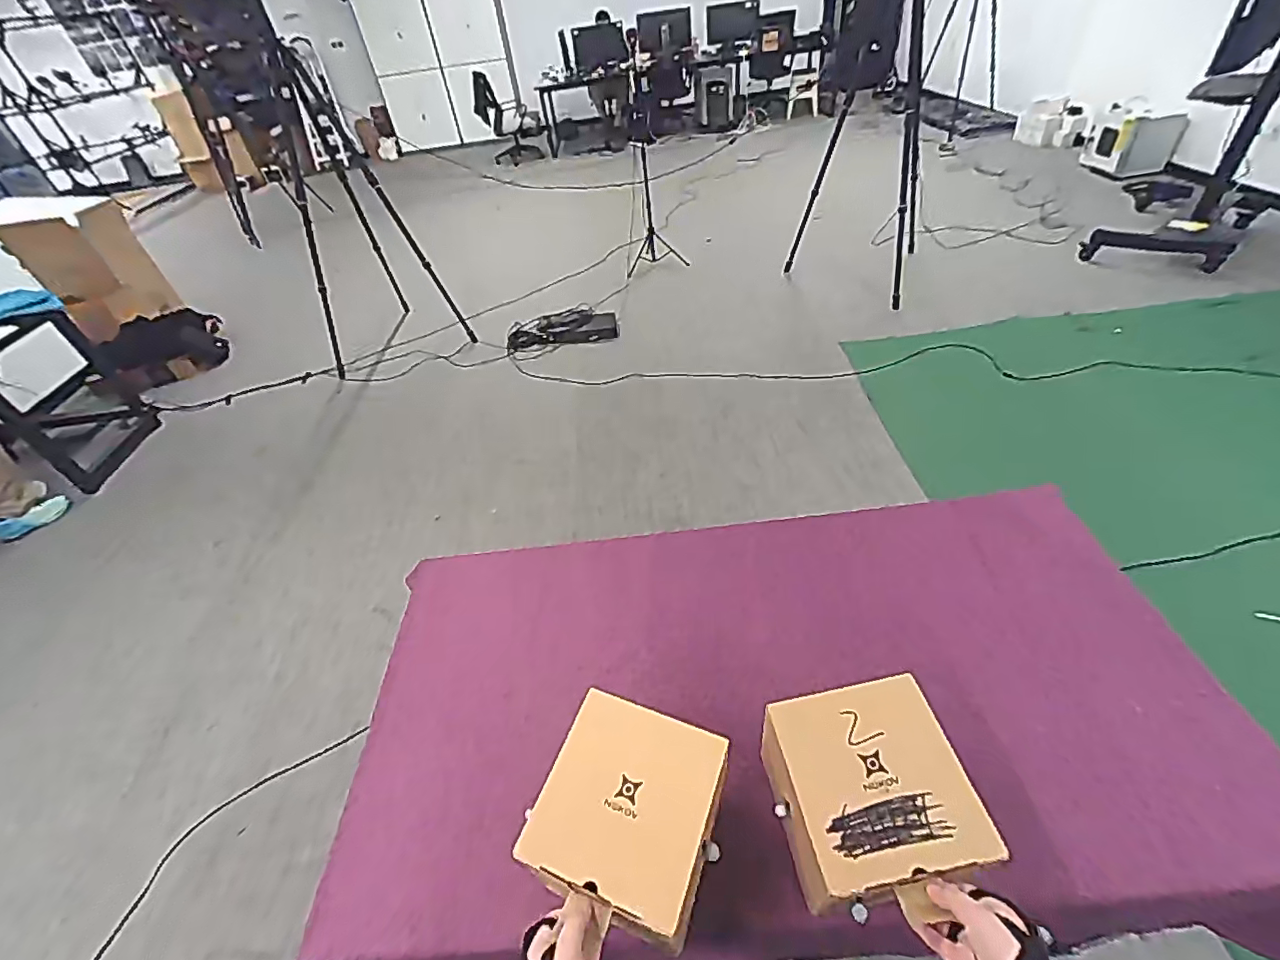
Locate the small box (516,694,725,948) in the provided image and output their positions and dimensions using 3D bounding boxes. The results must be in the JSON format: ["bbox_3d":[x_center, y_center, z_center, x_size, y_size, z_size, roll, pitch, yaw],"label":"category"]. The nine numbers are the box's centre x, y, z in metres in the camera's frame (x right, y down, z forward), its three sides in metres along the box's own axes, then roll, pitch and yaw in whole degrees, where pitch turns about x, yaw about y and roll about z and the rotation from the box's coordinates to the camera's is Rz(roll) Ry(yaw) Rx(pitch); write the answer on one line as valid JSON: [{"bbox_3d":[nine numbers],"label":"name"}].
[{"bbox_3d":[-0.011,0.381,0.608,0.168,0.176,0.179,13,49,18],"label":"small box"}]
